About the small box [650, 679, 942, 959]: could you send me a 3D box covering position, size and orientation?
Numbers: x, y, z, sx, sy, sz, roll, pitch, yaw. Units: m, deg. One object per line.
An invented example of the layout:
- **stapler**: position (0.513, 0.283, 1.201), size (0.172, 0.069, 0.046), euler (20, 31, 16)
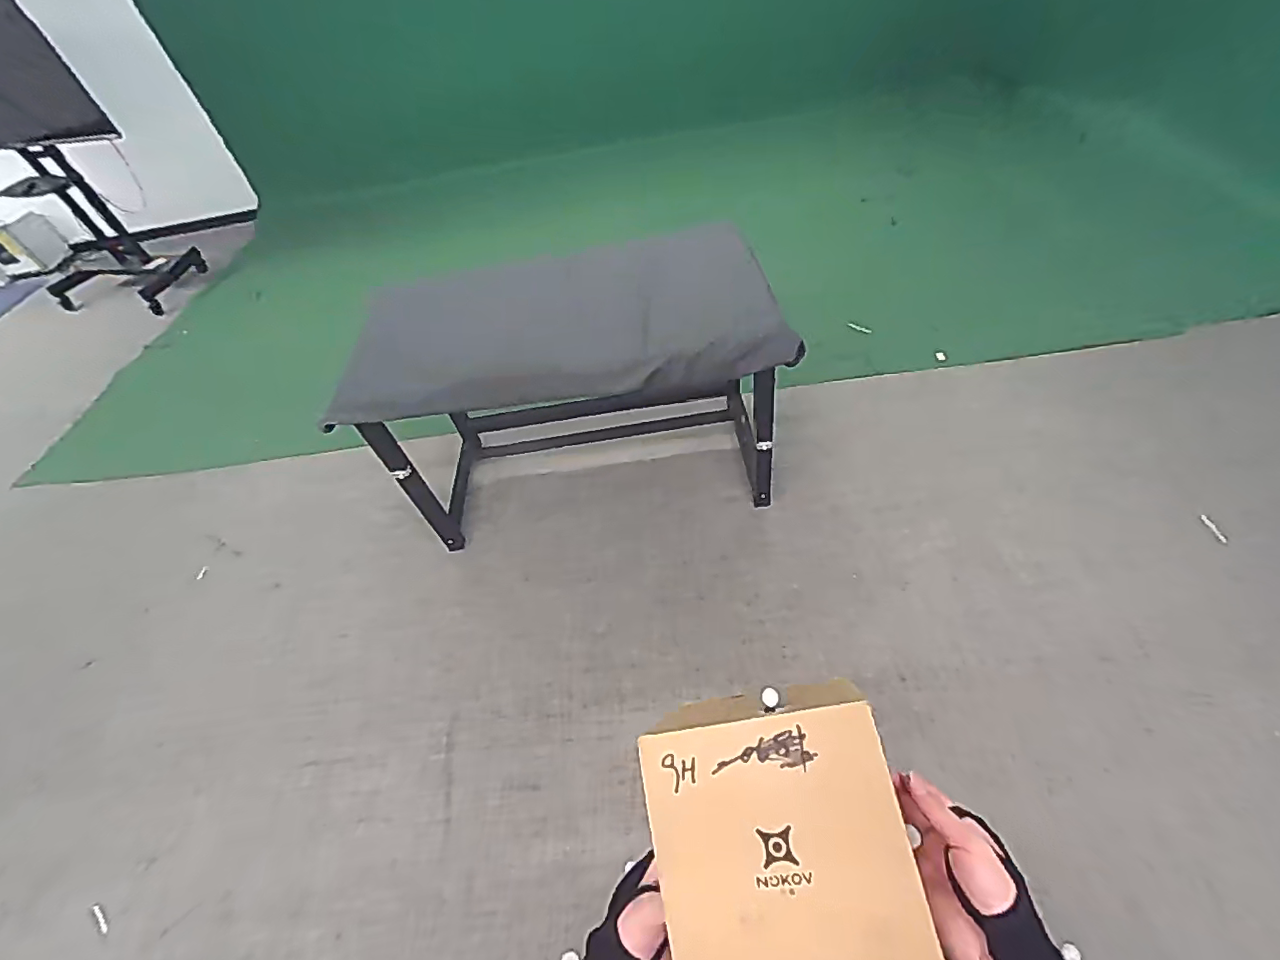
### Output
- **small box**: position (0.119, 0.273, 0.436), size (0.168, 0.176, 0.179), euler (-14, 74, 11)
